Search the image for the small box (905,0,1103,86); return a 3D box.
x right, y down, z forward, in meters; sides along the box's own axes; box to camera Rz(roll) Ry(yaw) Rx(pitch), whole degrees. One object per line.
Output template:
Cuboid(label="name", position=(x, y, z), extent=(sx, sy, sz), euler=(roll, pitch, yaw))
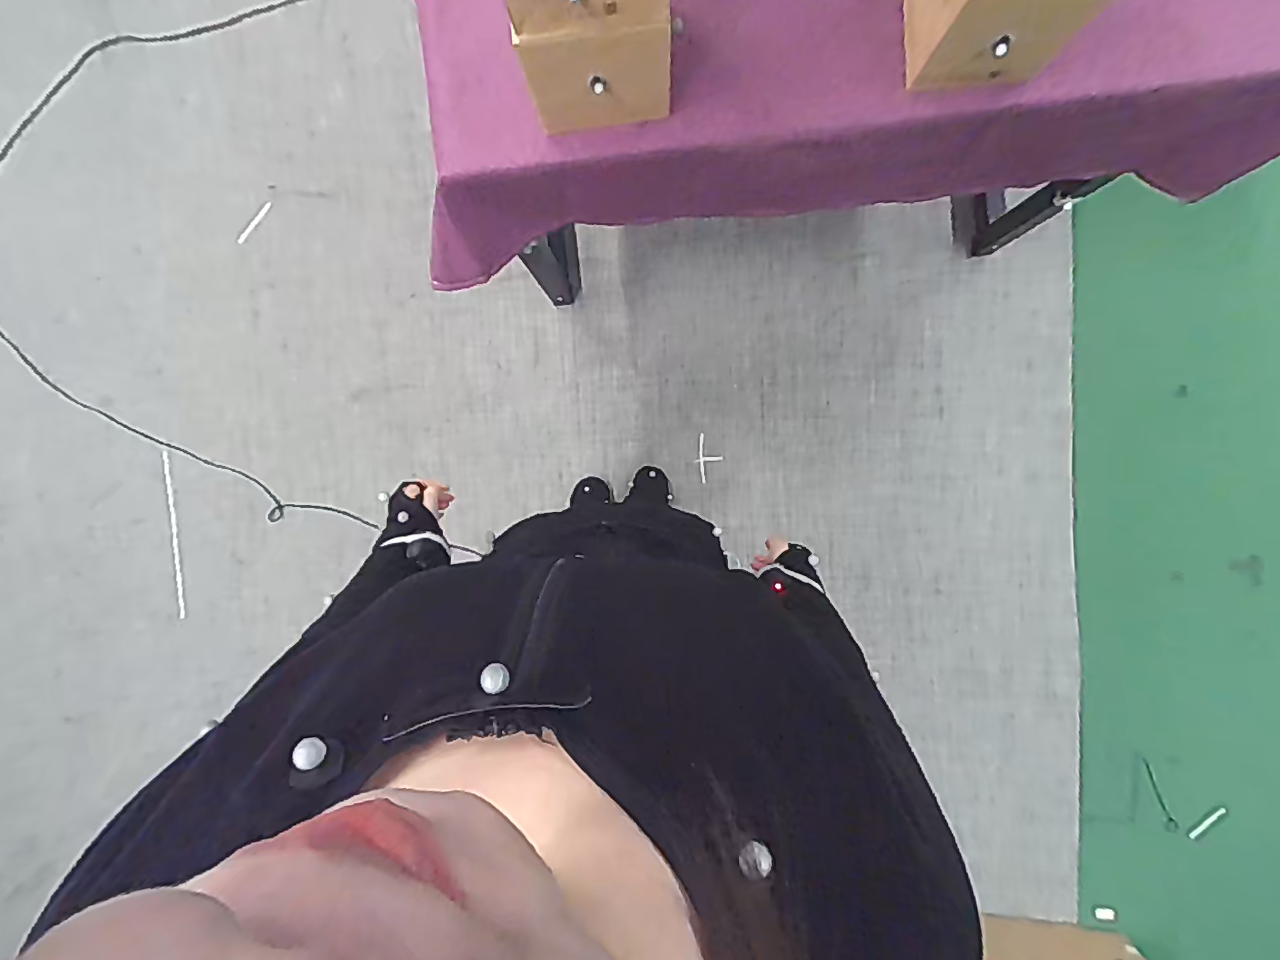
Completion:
Cuboid(label="small box", position=(0.436, -0.608, 0.646), extent=(0.168, 0.176, 0.179), euler=(-3, 93, 1))

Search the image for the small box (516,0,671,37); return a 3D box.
Cuboid(label="small box", position=(-0.057, -0.567, 0.499), extent=(0.168, 0.176, 0.179), euler=(-6, 93, 2))
